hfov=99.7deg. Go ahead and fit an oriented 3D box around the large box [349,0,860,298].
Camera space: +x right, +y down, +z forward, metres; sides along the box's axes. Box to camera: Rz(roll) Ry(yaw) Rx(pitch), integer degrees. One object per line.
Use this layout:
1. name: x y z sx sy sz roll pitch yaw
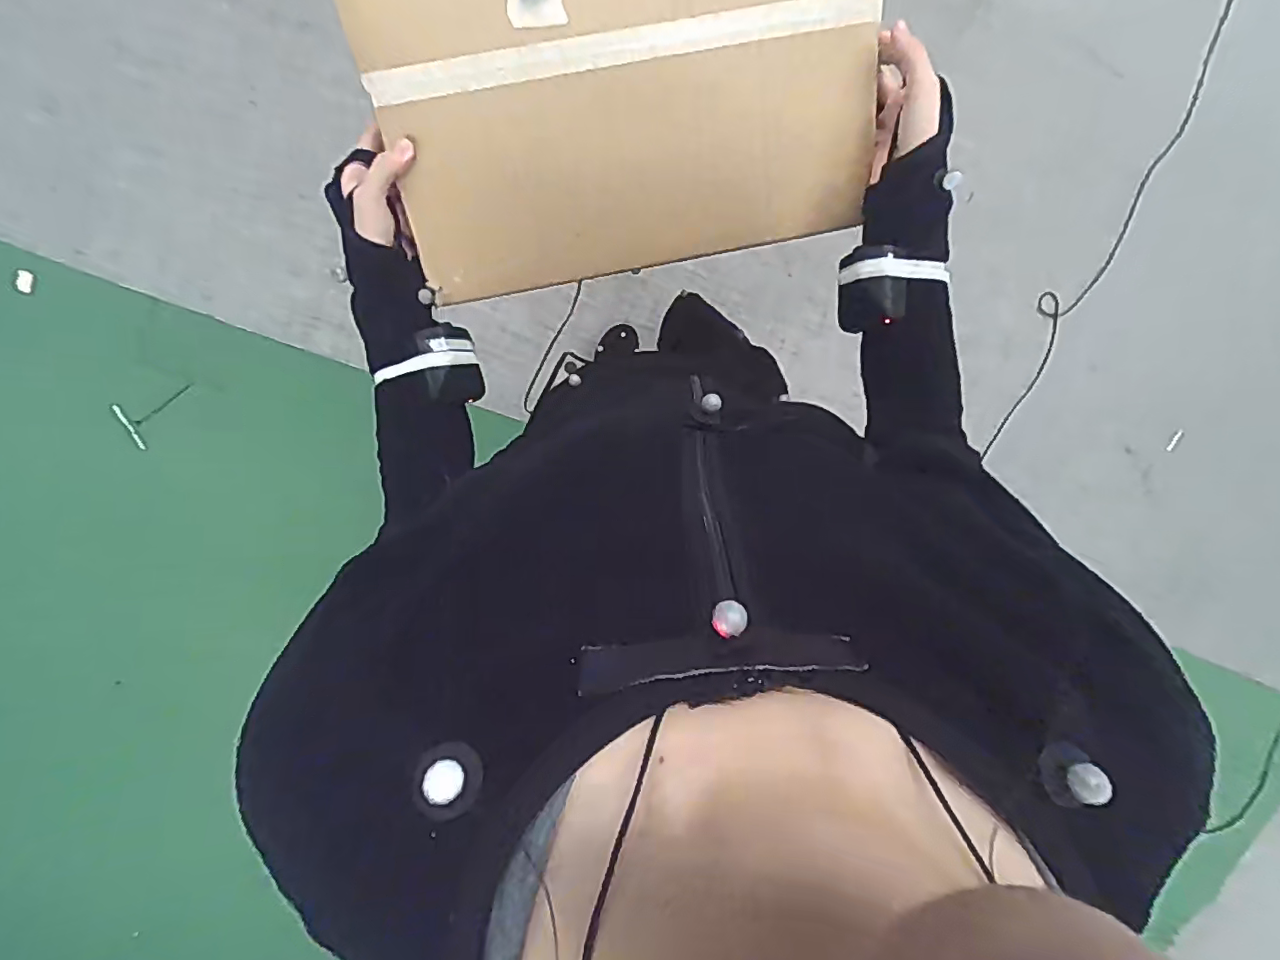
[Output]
1. large box: -0.032 -0.406 0.567 0.408 0.320 0.320 -12 116 -3
